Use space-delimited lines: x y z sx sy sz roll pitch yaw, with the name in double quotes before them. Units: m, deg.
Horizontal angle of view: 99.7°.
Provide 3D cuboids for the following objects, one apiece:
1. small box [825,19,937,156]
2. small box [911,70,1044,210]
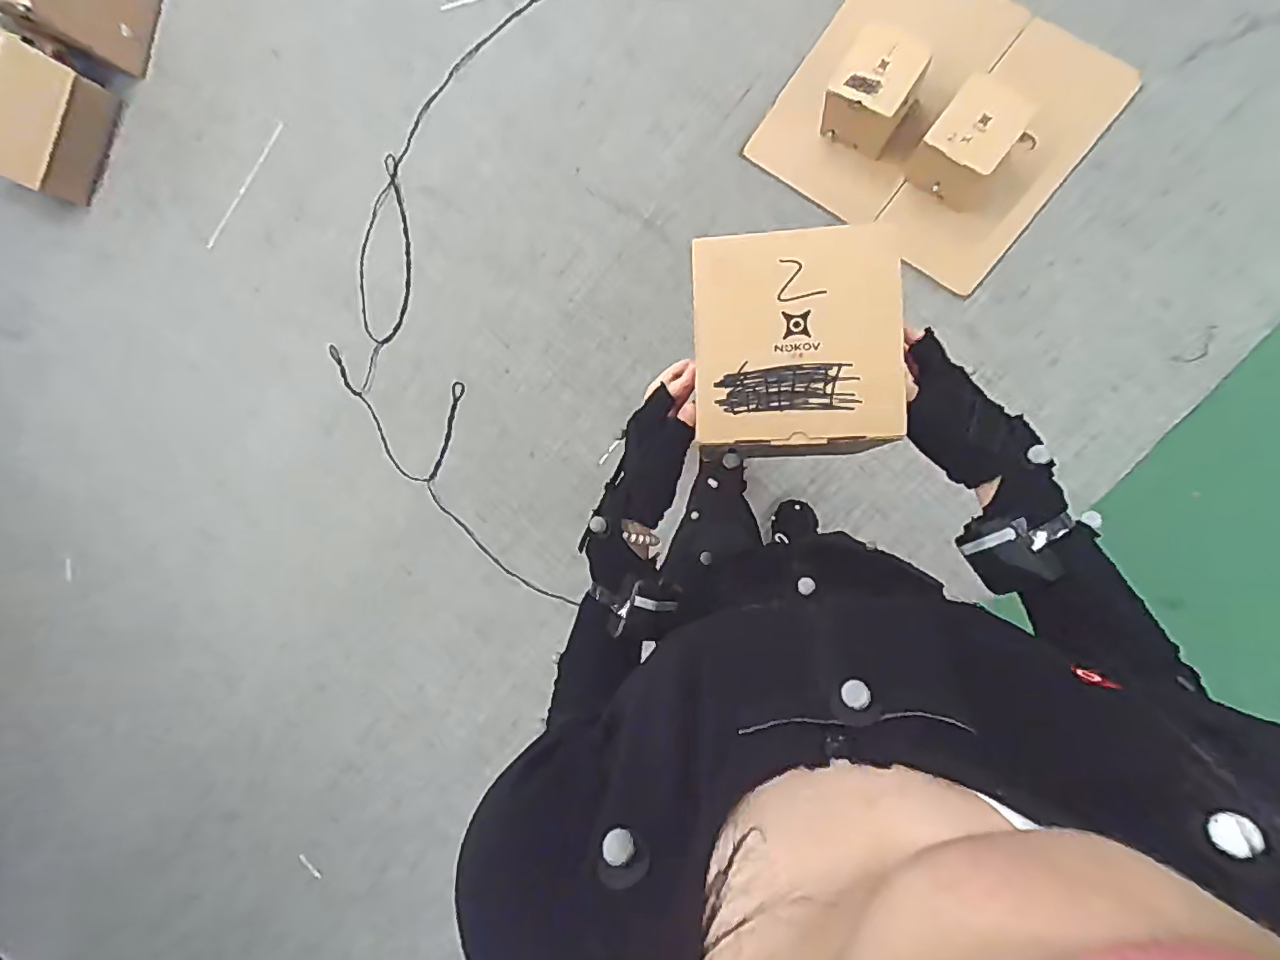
"small box" 0.555 -0.913 1.277 0.168 0.176 0.179 34 98 10
"small box" 0.756 -0.766 1.238 0.168 0.176 0.179 39 100 10
